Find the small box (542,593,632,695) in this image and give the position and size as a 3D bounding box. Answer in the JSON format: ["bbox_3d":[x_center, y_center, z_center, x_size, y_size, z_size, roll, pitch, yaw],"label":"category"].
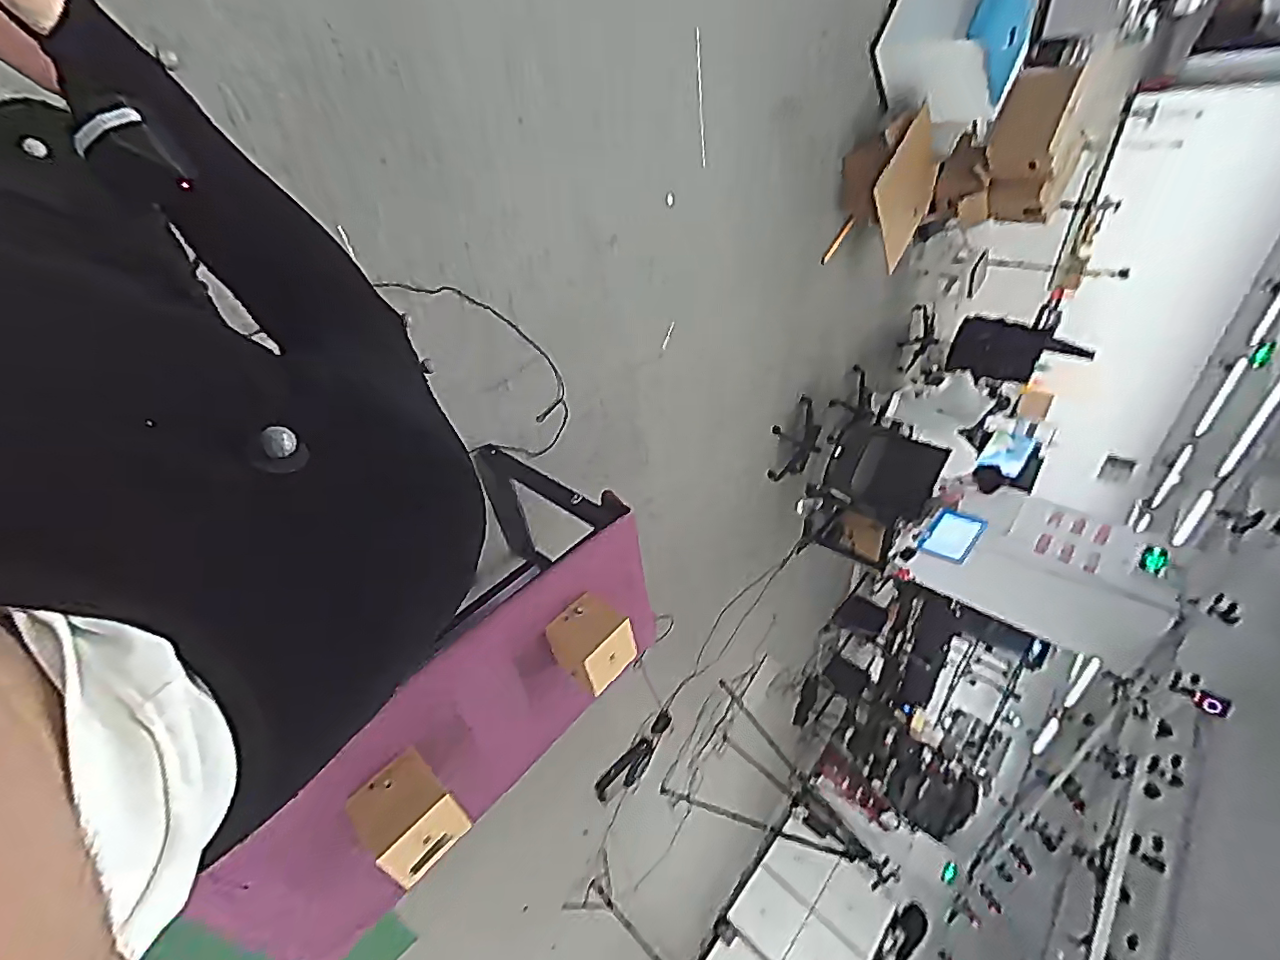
[{"bbox_3d":[-0.145,0.446,1.496,0.168,0.176,0.179,-39,137,-32],"label":"small box"}]
